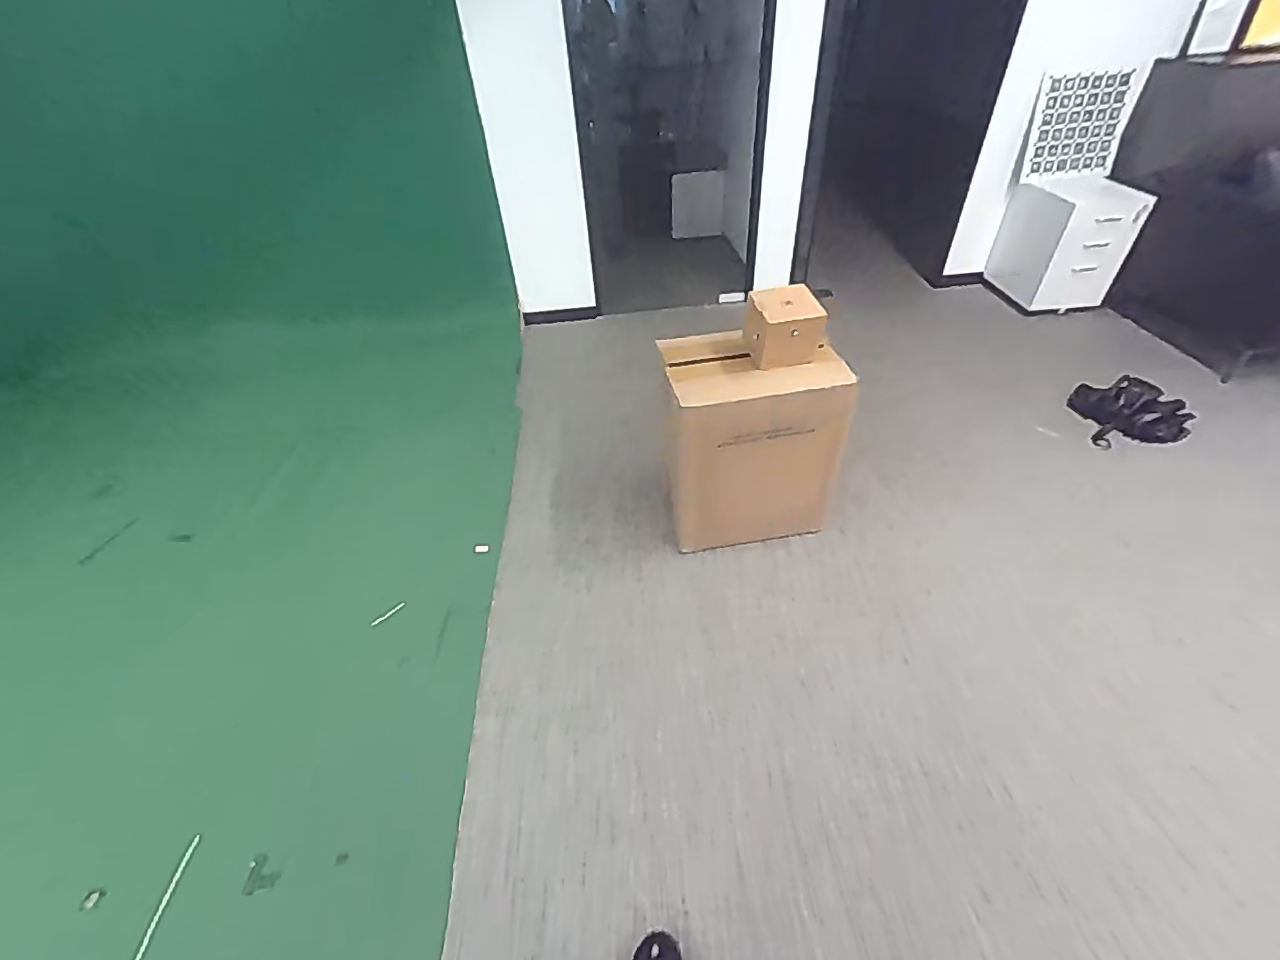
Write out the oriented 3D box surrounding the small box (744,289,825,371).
[{"bbox_3d":[0.418,-0.441,1.609,0.179,0.176,0.168,-10,52,-9],"label":"small box"}]
